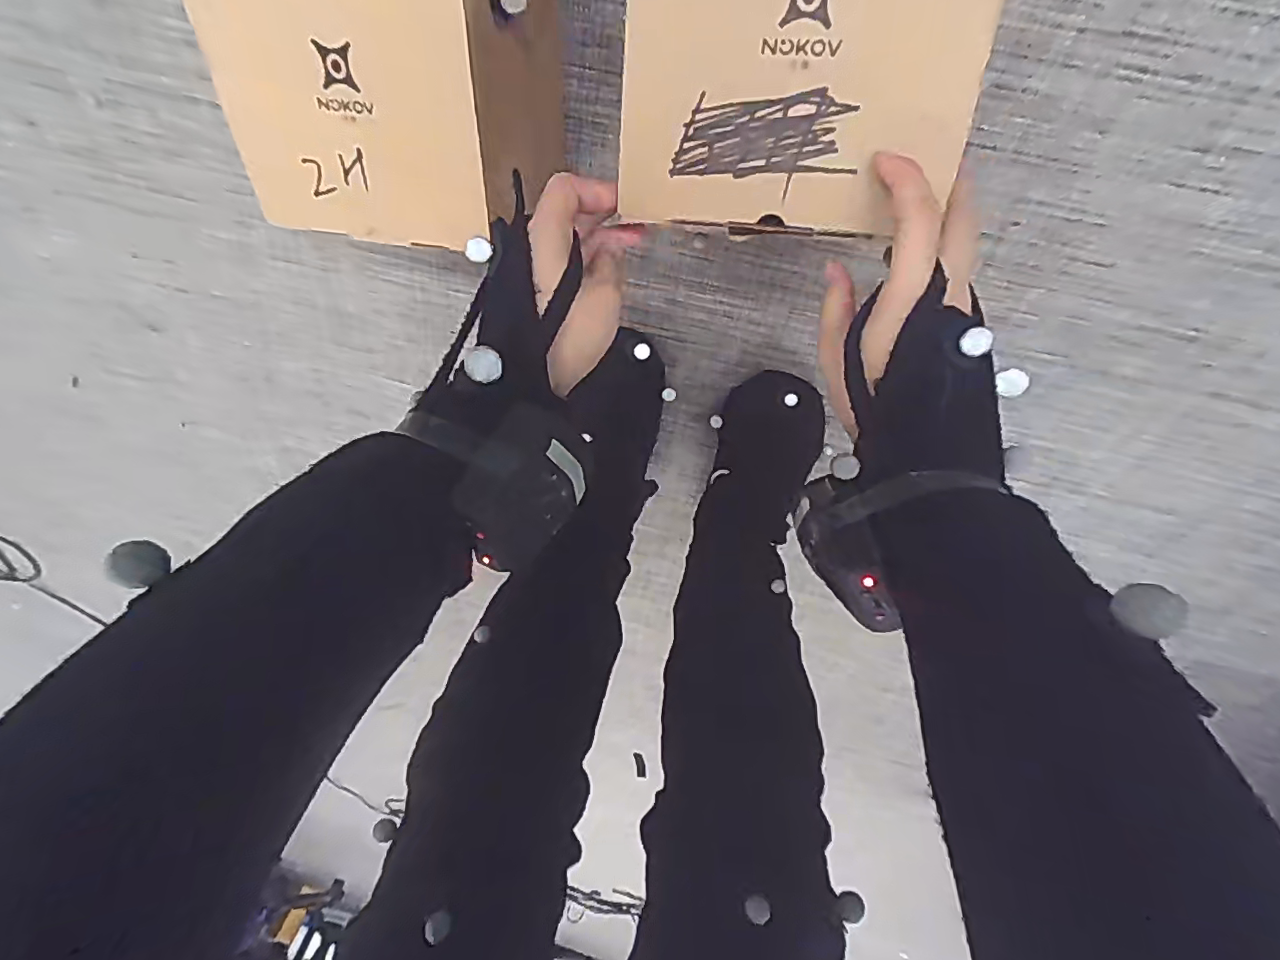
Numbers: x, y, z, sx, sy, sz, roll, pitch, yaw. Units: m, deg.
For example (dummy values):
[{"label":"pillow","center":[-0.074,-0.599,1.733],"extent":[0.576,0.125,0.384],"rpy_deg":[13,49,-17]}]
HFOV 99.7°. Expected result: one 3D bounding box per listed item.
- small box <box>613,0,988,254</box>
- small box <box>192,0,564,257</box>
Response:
[{"label":"small box","center":[0.087,-0.239,0.325],"extent":[0.168,0.176,0.179],"rpy_deg":[9,114,8]},{"label":"small box","center":[-0.156,-0.280,0.376],"extent":[0.168,0.176,0.179],"rpy_deg":[10,132,7]}]
